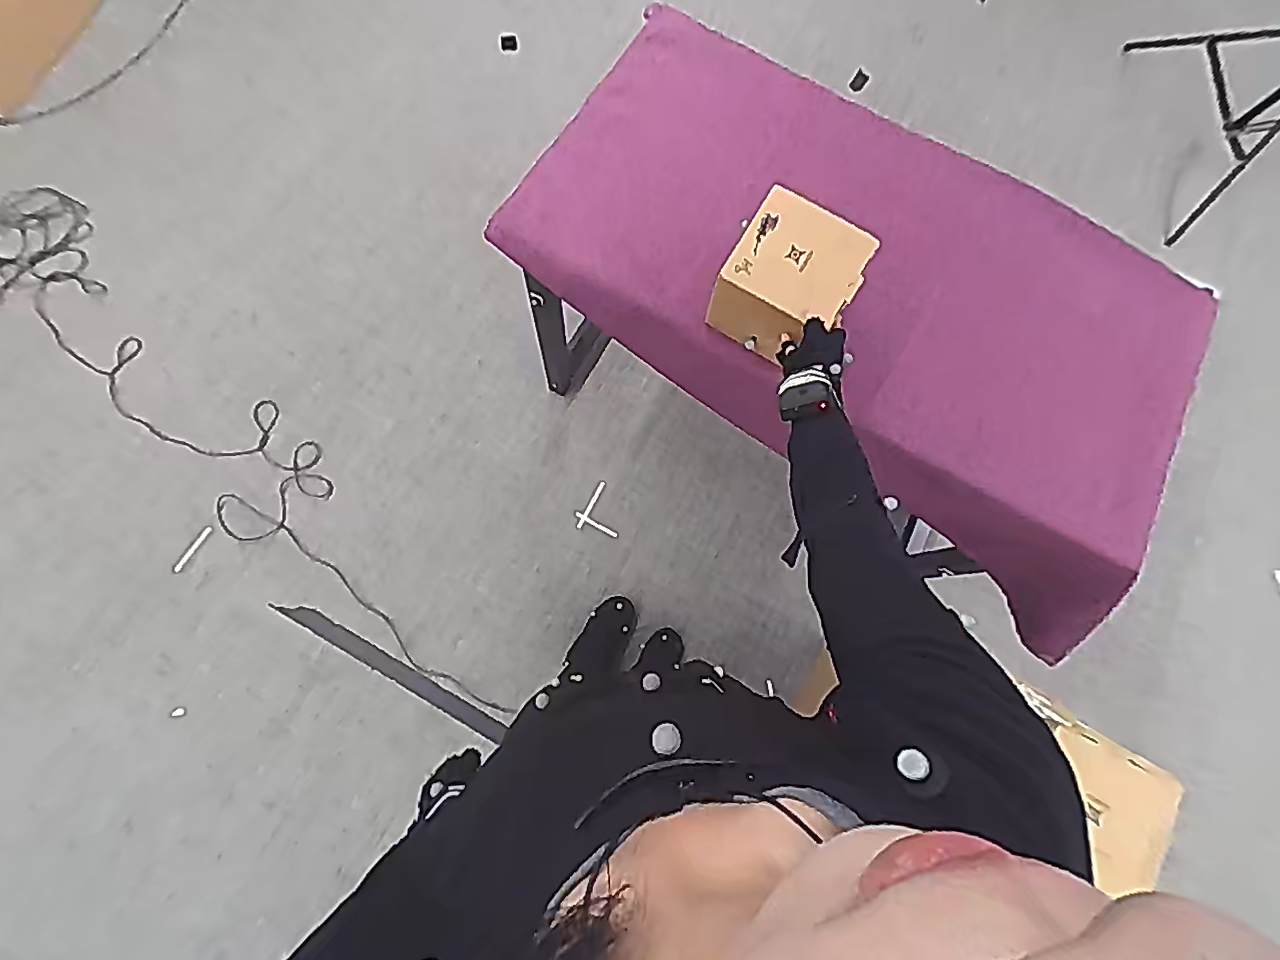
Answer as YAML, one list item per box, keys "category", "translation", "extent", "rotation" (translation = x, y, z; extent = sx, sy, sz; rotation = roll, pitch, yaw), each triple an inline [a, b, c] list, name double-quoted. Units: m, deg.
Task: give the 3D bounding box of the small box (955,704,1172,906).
- category: "small box"
  translation: [0.611, 0.460, 0.802]
  extent: [0.168, 0.176, 0.179]
  rotation: [29, 78, 5]

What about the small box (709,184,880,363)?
- category: "small box"
  translation: [0.229, -0.306, 0.847]
  extent: [0.179, 0.176, 0.168]
  rotation: [32, 82, 3]

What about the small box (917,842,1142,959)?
- category: "small box"
  translation: [0.519, 0.655, 0.746]
  extent: [0.168, 0.176, 0.179]
  rotation: [33, 74, 5]
